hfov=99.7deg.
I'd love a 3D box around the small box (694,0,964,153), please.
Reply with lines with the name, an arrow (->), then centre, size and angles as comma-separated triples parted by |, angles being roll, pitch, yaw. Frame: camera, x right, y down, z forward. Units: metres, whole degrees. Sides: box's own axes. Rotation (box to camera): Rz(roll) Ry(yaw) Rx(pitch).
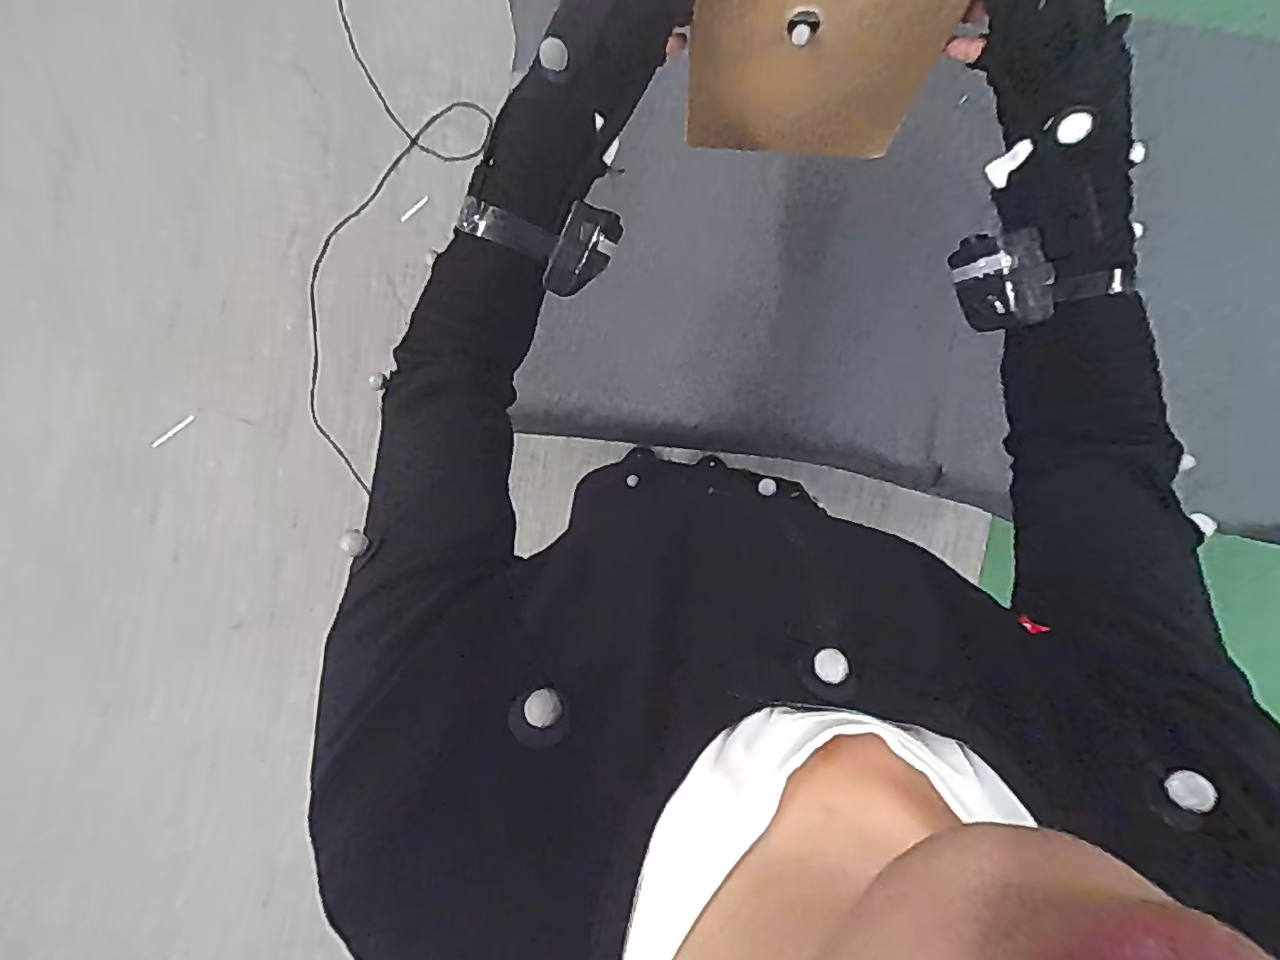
small box -> 0.135, -0.378, 0.403 | 0.179, 0.176, 0.168 | 6, 85, 3
